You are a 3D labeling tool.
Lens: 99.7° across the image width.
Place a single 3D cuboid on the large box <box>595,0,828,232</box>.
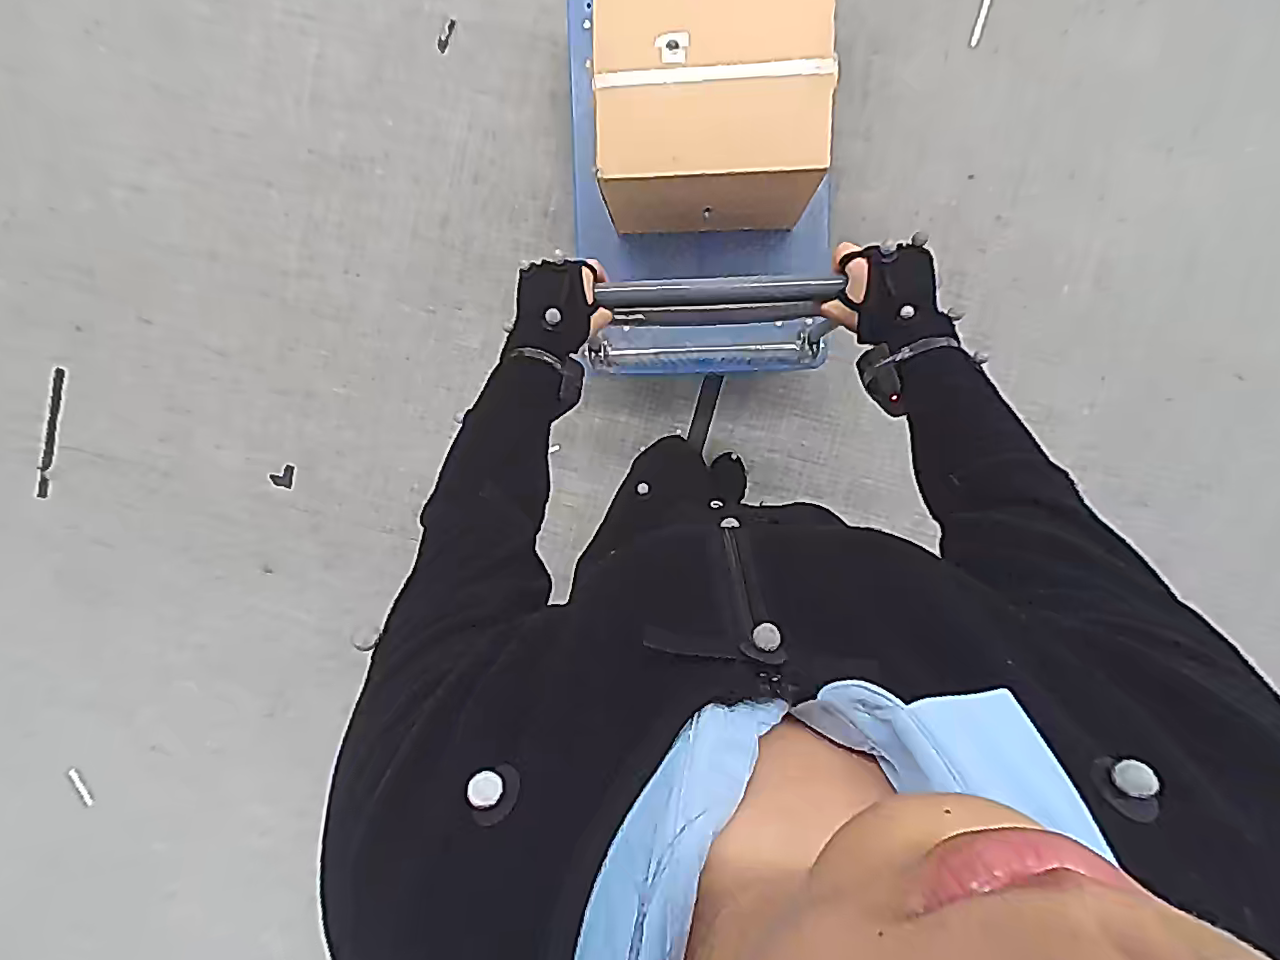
[{"bbox_3d":[0.138,-0.715,1.086,0.408,0.320,0.320,0,96,6],"label":"large box"}]
